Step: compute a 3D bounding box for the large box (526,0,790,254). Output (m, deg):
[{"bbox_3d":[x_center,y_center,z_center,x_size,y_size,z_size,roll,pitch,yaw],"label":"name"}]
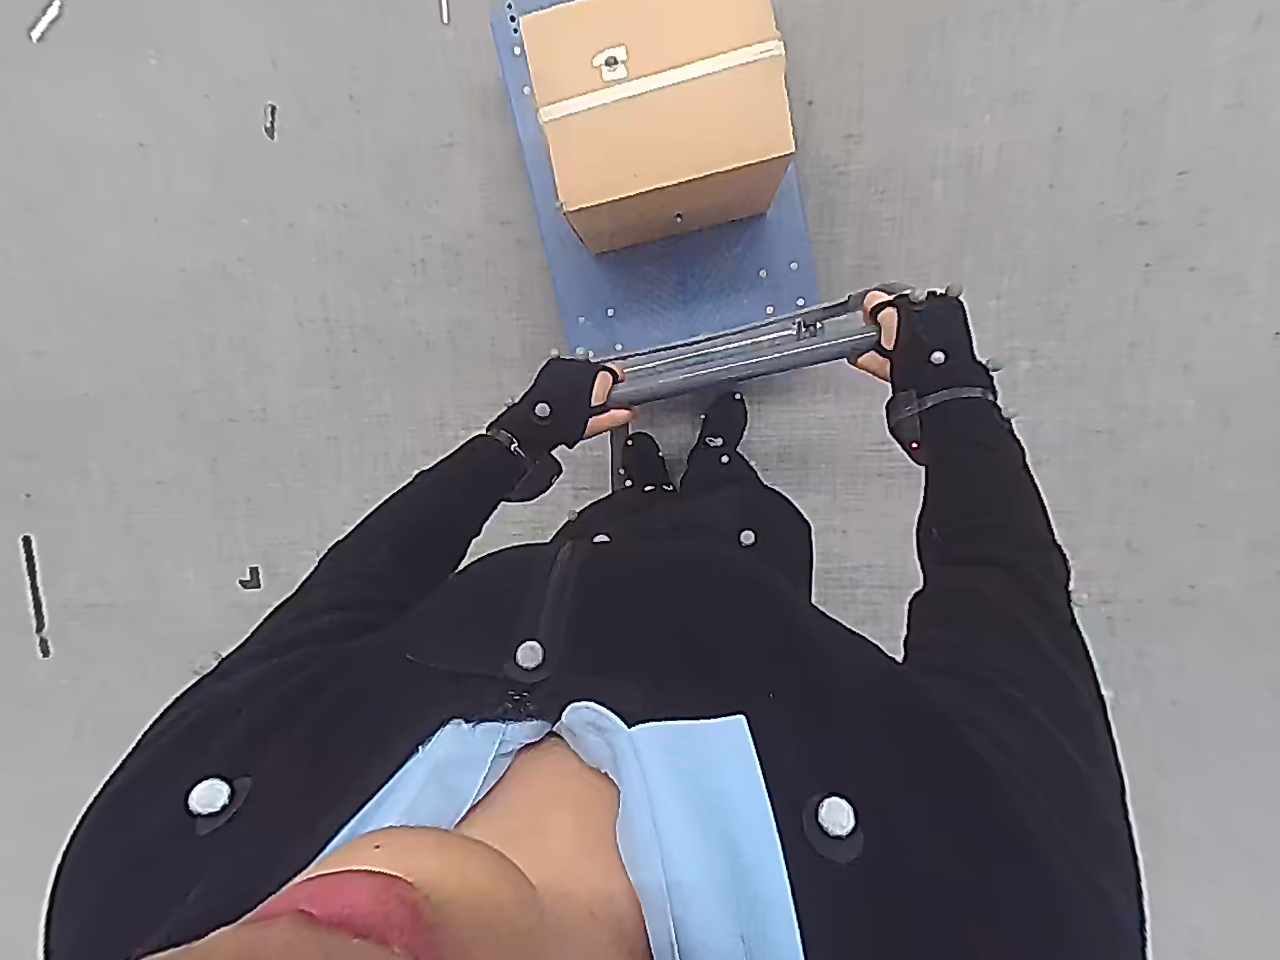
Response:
[{"bbox_3d":[0.044,-0.679,1.059,0.408,0.320,0.320,-12,98,7],"label":"large box"}]
